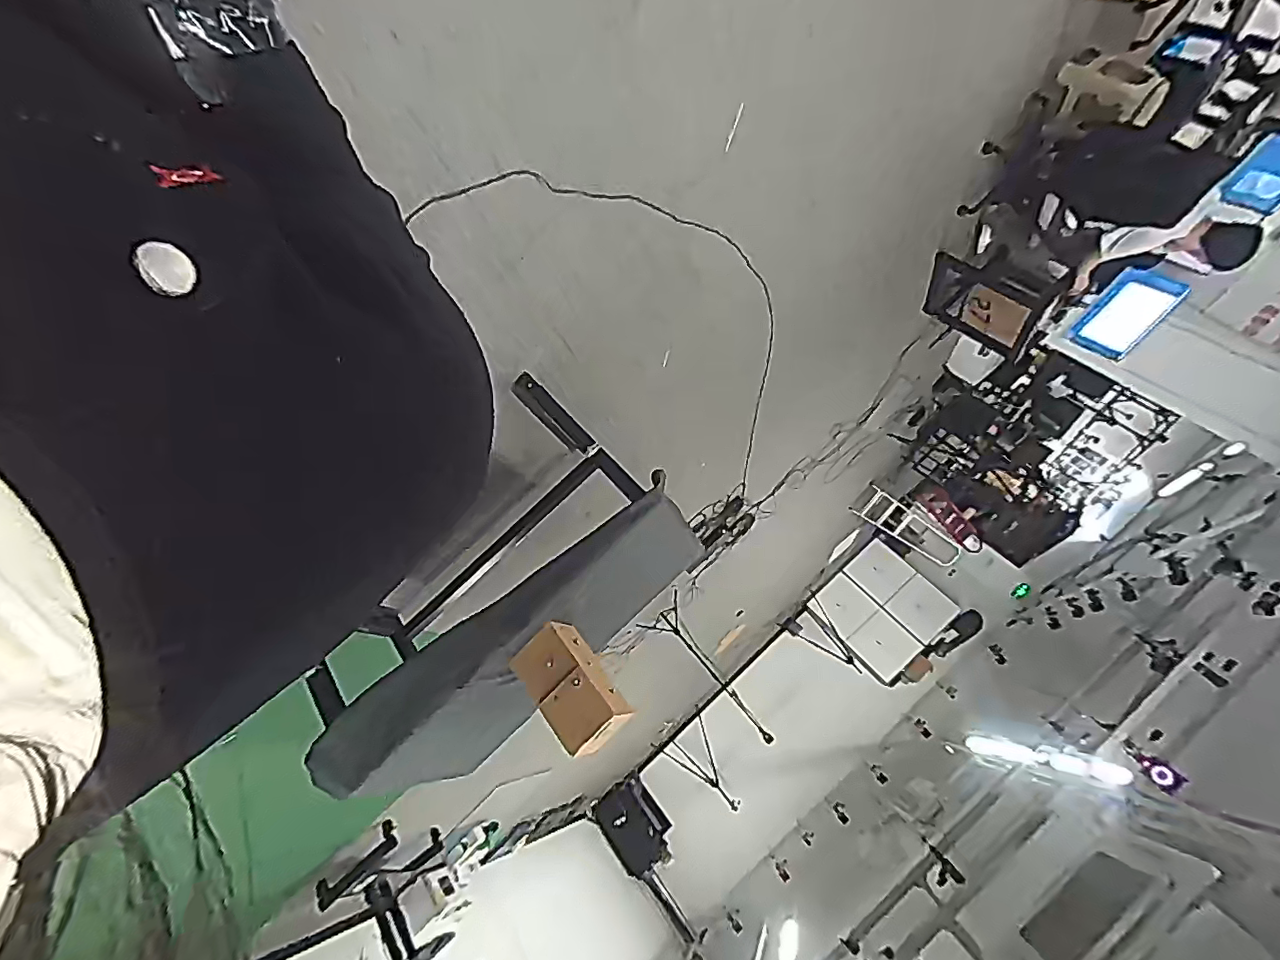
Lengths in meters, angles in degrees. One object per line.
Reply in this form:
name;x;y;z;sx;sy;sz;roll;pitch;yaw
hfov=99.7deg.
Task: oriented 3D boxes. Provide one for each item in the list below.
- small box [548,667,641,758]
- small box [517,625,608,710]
small box;-0.130;0.650;1.528;0.168;0.176;0.179;-45;153;-1
small box;-0.233;0.552;1.616;0.179;0.176;0.168;-46;154;3
